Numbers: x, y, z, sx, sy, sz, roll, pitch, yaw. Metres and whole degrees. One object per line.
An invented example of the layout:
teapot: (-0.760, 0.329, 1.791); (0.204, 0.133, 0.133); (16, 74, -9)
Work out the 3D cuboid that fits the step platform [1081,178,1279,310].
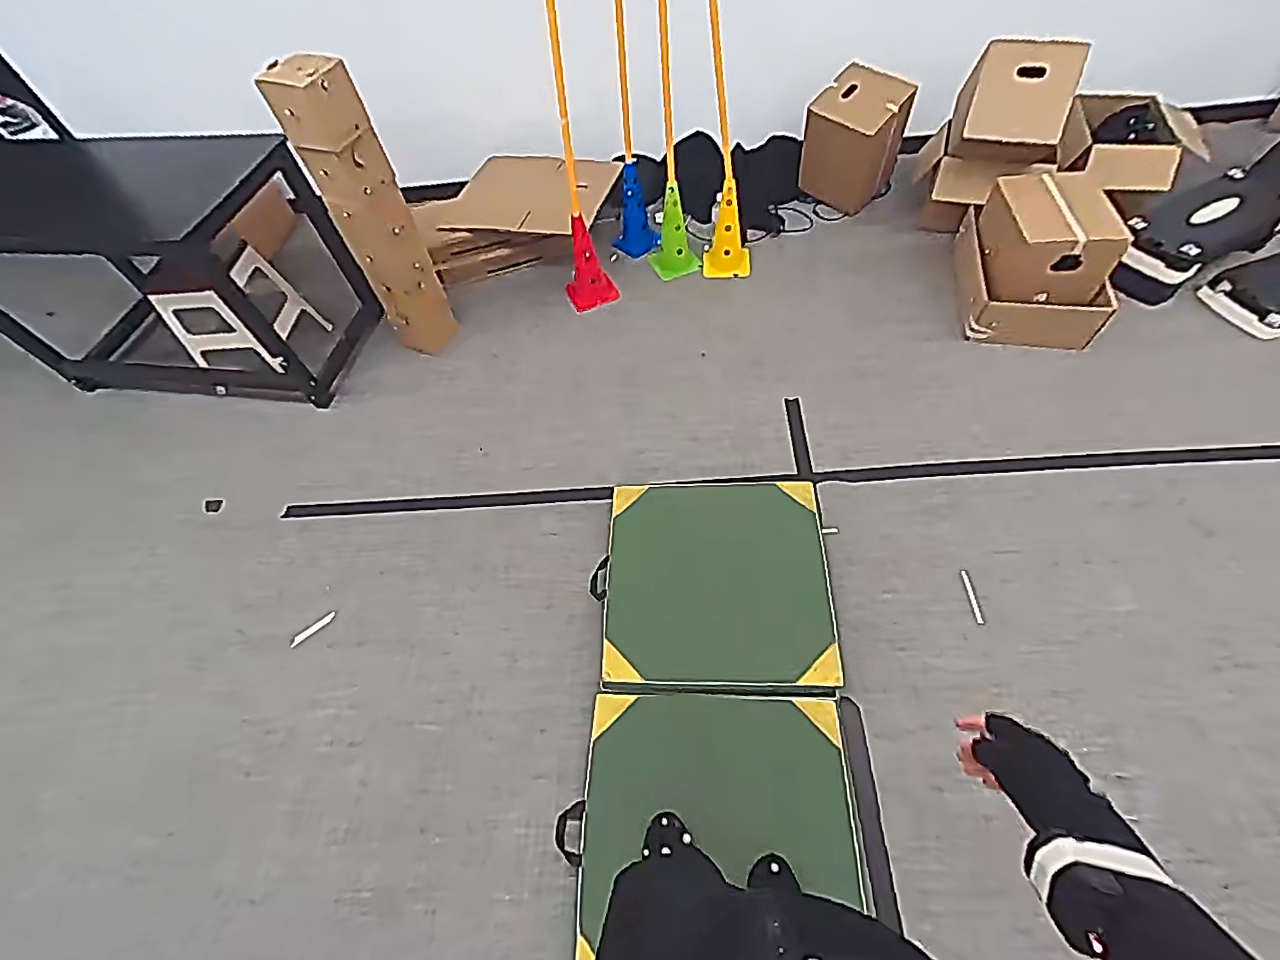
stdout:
step platform: (2.088, -0.912, 2.072); (0.684, 0.204, 0.286); (-27, 58, -11)
